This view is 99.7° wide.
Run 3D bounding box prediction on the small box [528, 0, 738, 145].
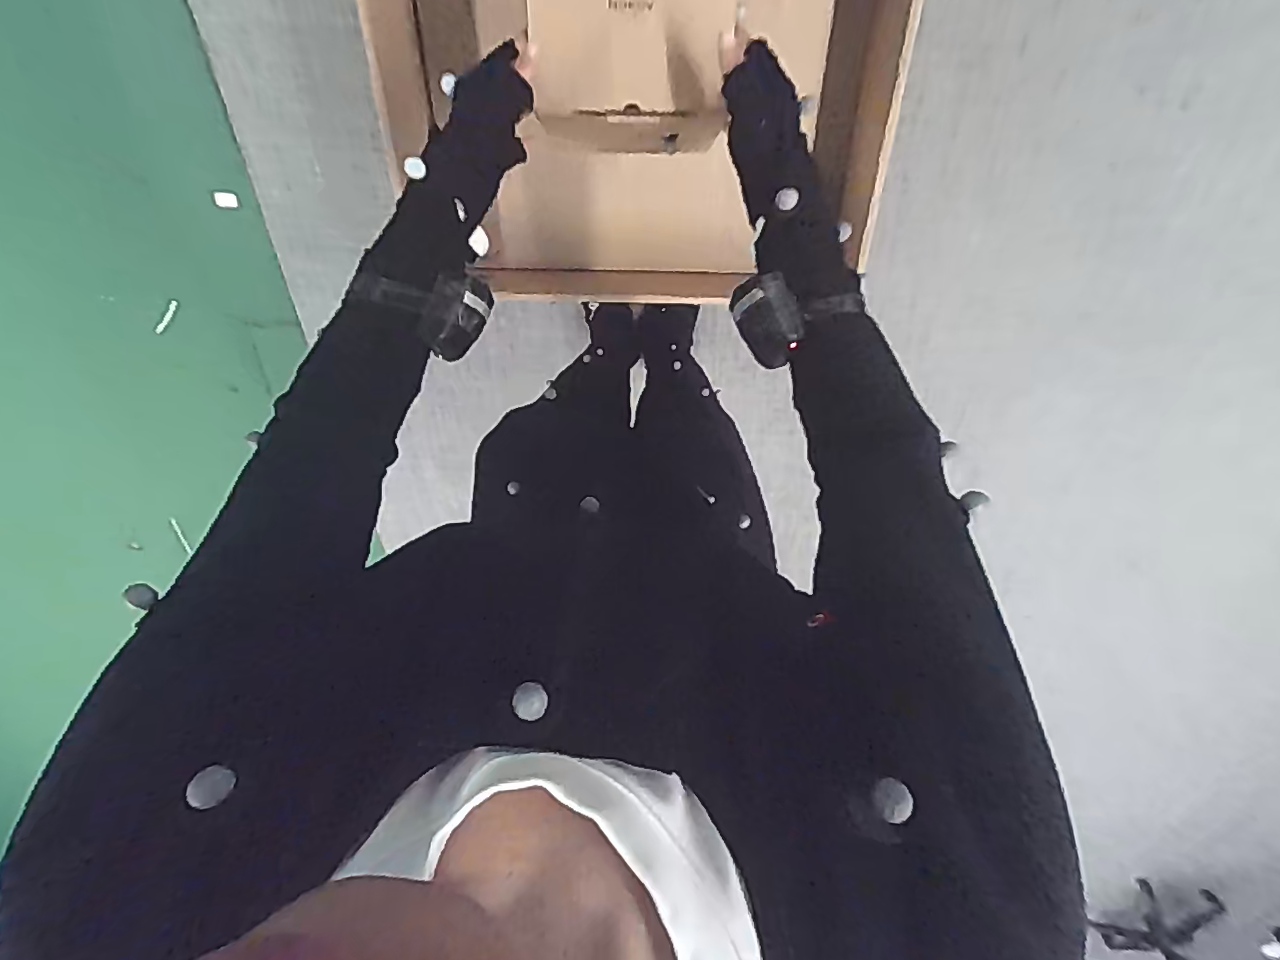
[{"bbox_3d":[-0.005,-0.413,0.483,0.168,0.176,0.179,0,111,-1],"label":"small box"}]
